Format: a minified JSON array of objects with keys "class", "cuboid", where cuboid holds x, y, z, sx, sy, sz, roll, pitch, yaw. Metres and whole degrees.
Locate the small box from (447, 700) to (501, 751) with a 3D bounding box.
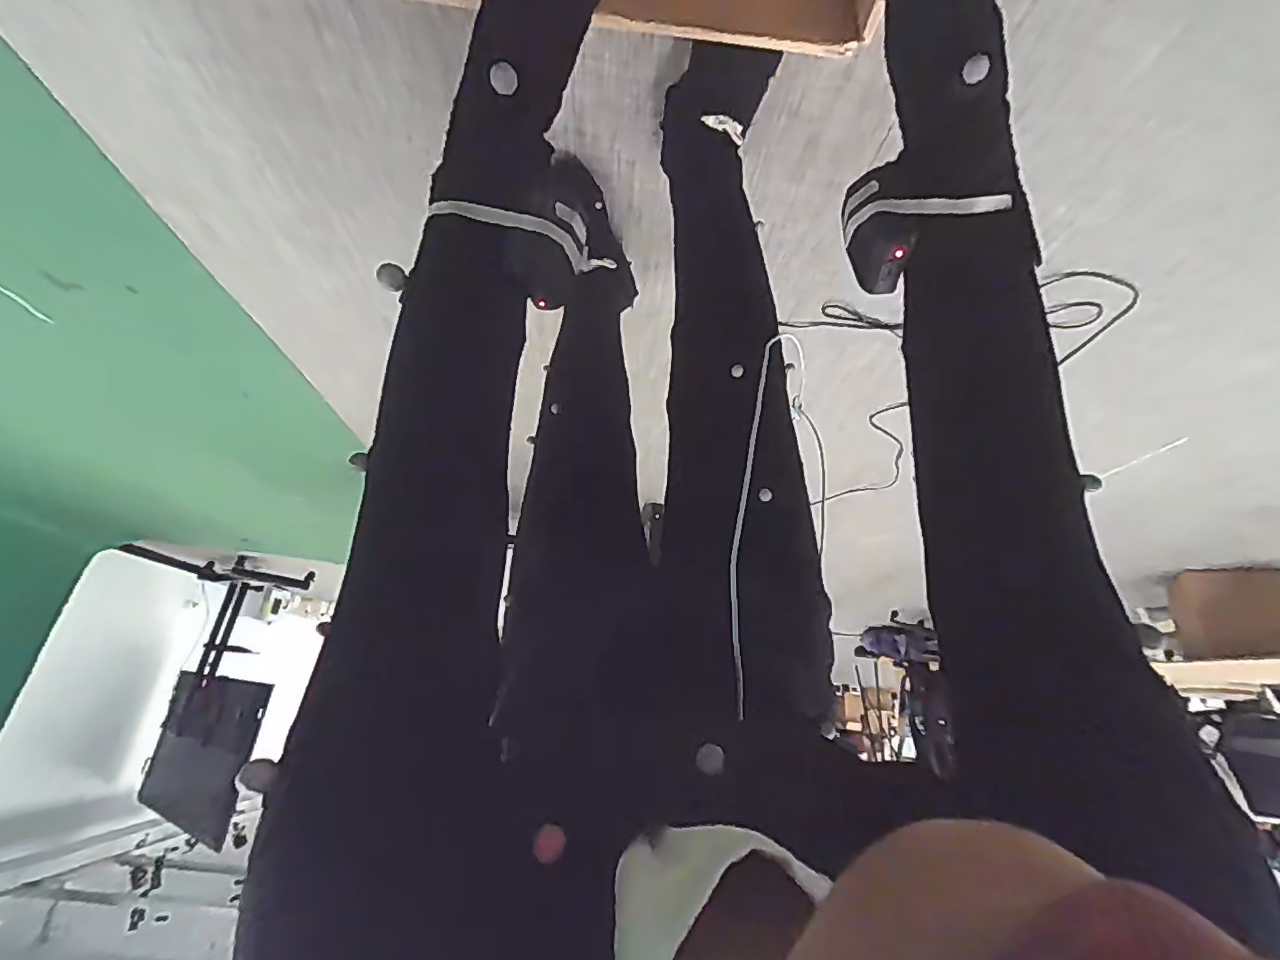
[{"class":"small box","cuboid":[-0.667,0.991,2.191,0.168,0.176,0.179,8,159,-4]}]
